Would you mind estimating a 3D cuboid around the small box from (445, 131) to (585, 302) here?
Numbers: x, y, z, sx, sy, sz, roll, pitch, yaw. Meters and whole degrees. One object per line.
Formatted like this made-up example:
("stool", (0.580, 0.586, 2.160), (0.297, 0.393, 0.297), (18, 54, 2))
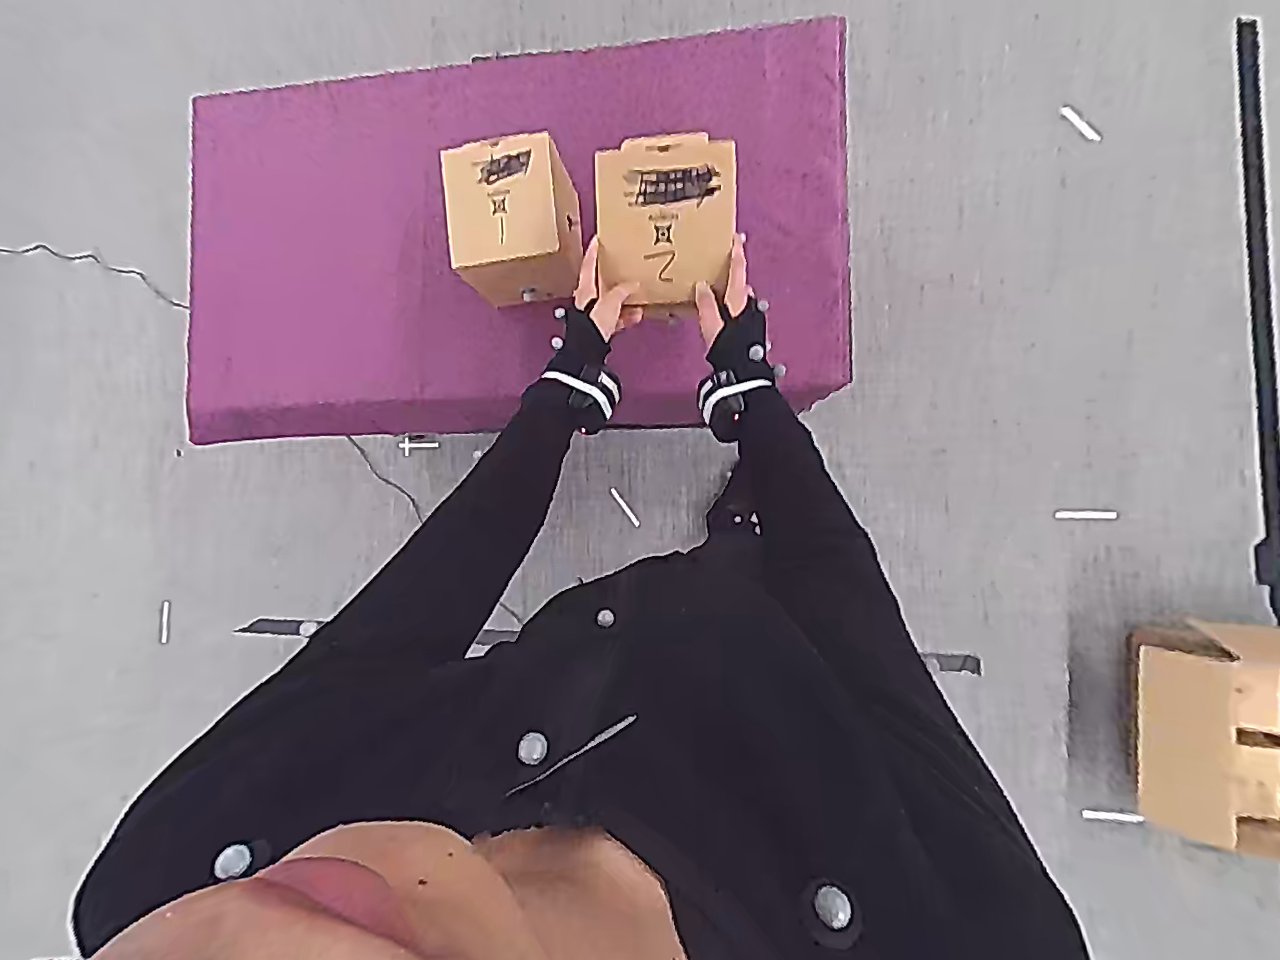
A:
("small box", (-0.190, -0.407, 0.861), (0.168, 0.176, 0.179), (-6, 88, 8))
